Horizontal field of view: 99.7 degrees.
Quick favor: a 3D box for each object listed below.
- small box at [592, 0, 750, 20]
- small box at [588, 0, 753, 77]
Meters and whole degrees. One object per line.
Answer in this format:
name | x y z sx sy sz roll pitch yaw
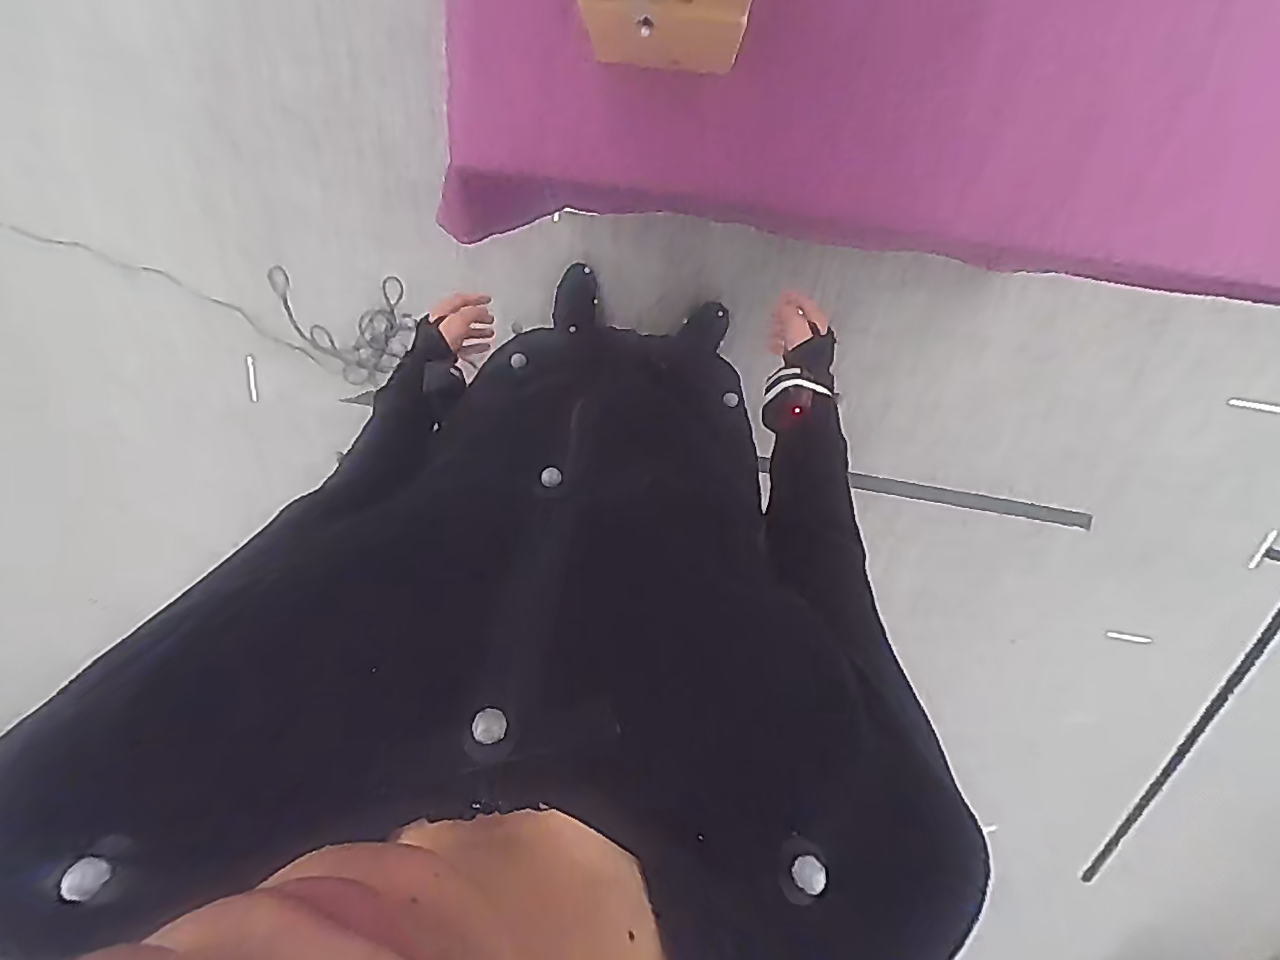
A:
small box | 0.026 -0.502 0.416 0.168 0.176 0.179 5 113 1
small box | 0.038 -0.562 0.567 0.168 0.176 0.179 7 112 0
